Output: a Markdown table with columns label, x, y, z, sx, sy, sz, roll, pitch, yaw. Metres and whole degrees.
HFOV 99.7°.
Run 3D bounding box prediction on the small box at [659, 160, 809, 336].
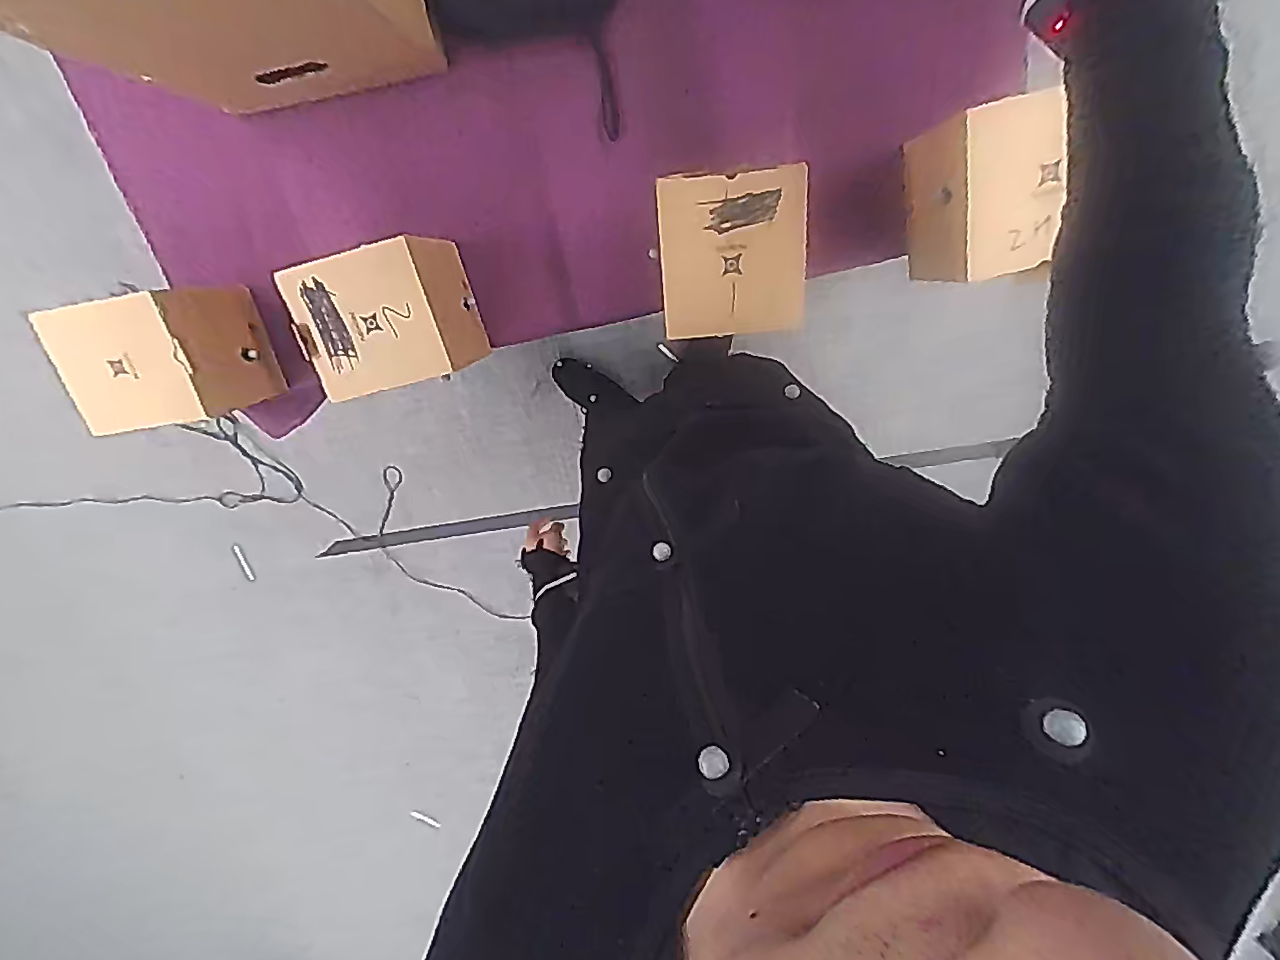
| label | x | y | z | sx | sy | sz | roll | pitch | yaw |
| --- | --- | --- | --- | --- | --- | --- | --- | --- | --- |
| small box | 0.110 | -0.289 | 0.688 | 0.168 | 0.176 | 0.179 | -3 | 113 | 5 |

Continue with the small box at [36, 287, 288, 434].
| label | x | y | z | sx | sy | sz | roll | pitch | yaw |
| --- | --- | --- | --- | --- | --- | --- | --- | --- | --- |
| small box | -0.662 | -0.177 | 0.775 | 0.179 | 0.176 | 0.168 | -9 | 111 | 5 |

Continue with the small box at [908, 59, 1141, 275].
| label | x | y | z | sx | sy | sz | roll | pitch | yaw |
| --- | --- | --- | --- | --- | --- | --- | --- | --- | --- |
| small box | 0.434 | -0.350 | 0.643 | 0.168 | 0.176 | 0.179 | -10 | 111 | 8 |
